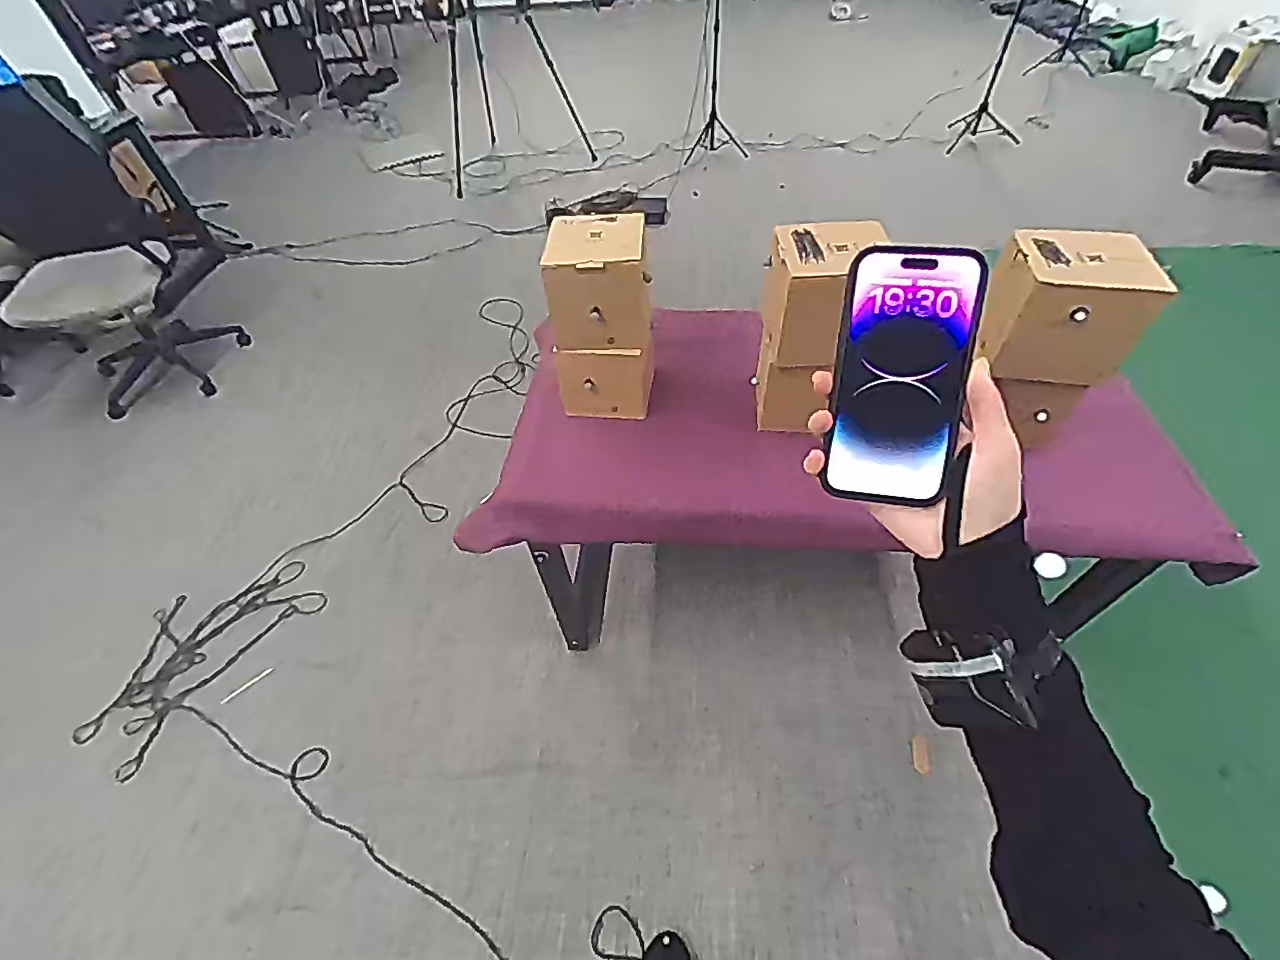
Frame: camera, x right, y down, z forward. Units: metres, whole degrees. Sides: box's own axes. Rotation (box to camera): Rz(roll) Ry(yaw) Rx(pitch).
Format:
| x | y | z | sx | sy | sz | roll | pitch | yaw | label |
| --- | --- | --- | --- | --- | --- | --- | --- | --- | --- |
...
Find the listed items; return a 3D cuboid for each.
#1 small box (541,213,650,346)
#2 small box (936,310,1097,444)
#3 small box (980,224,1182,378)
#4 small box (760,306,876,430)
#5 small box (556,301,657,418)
| x | y | z | sx | sy | sz | roll | pitch | yaw | label |
| --- | --- | --- | --- | --- | --- | --- | --- | --- | --- |
| -0.069 | -0.354 | 0.974 | 0.168 | 0.176 | 0.179 | 0 | 50 | 4 | small box |
| 0.662 | -0.183 | 0.975 | 0.179 | 0.176 | 0.168 | 7 | 50 | 12 | small box |
| 0.657 | -0.277 | 0.840 | 0.179 | 0.176 | 0.168 | 7 | 50 | 11 | small box |
| 0.326 | -0.210 | 1.027 | 0.179 | 0.176 | 0.168 | 2 | 50 | 8 | small box |
| -0.058 | -0.242 | 1.093 | 0.168 | 0.176 | 0.179 | 3 | 50 | 8 | small box |
